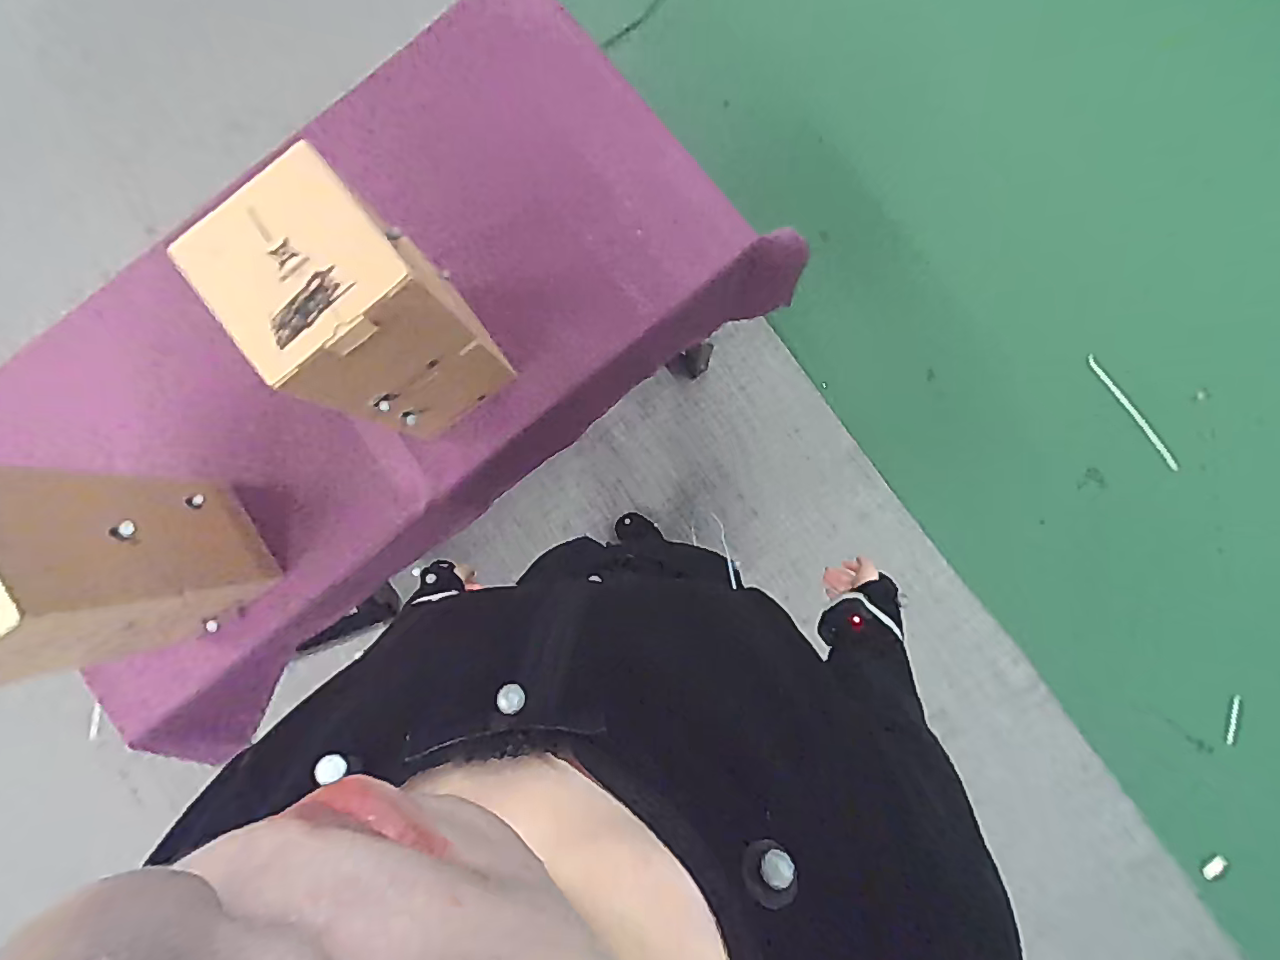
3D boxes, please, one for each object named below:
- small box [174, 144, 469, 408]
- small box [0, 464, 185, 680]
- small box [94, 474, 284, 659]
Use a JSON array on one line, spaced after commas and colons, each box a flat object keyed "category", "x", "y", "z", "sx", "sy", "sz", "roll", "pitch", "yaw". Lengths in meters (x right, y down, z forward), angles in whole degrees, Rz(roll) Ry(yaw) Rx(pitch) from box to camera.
[{"category": "small box", "x": -0.316, "y": -0.195, "z": 0.577, "sx": 0.168, "sy": 0.176, "sz": 0.179, "roll": -40, "pitch": 84, "yaw": 0}, {"category": "small box", "x": -0.655, "y": 0.102, "z": 0.574, "sx": 0.168, "sy": 0.176, "sz": 0.179, "roll": -34, "pitch": 84, "yaw": 2}, {"category": "small box", "x": -0.646, "y": 0.112, "z": 0.739, "sx": 0.168, "sy": 0.176, "sz": 0.179, "roll": -34, "pitch": 86, "yaw": 1}]
